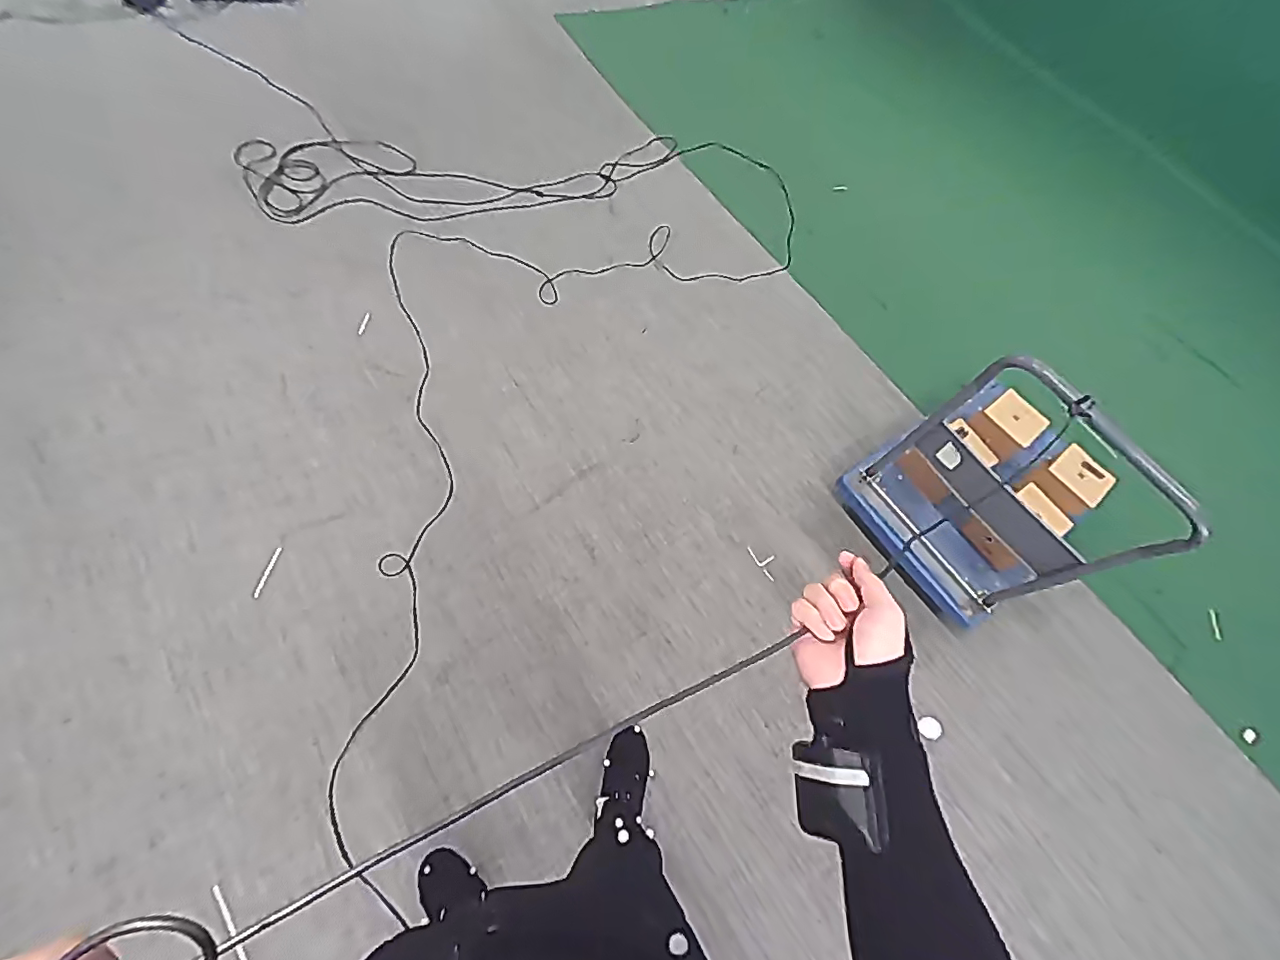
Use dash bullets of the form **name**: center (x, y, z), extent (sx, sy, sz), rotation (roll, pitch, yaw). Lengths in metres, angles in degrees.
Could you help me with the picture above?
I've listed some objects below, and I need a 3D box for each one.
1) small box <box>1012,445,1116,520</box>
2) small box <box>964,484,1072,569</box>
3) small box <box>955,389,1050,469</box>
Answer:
- **small box**: center (1.351, 0.022, 1.736), extent (0.179, 0.176, 0.168), rotation (-33, 73, -23)
- **small box**: center (1.133, 0.144, 1.634), extent (0.179, 0.176, 0.168), rotation (-28, 72, -21)
- **small box**: center (1.195, -0.164, 1.801), extent (0.179, 0.176, 0.168), rotation (-33, 74, -24)
